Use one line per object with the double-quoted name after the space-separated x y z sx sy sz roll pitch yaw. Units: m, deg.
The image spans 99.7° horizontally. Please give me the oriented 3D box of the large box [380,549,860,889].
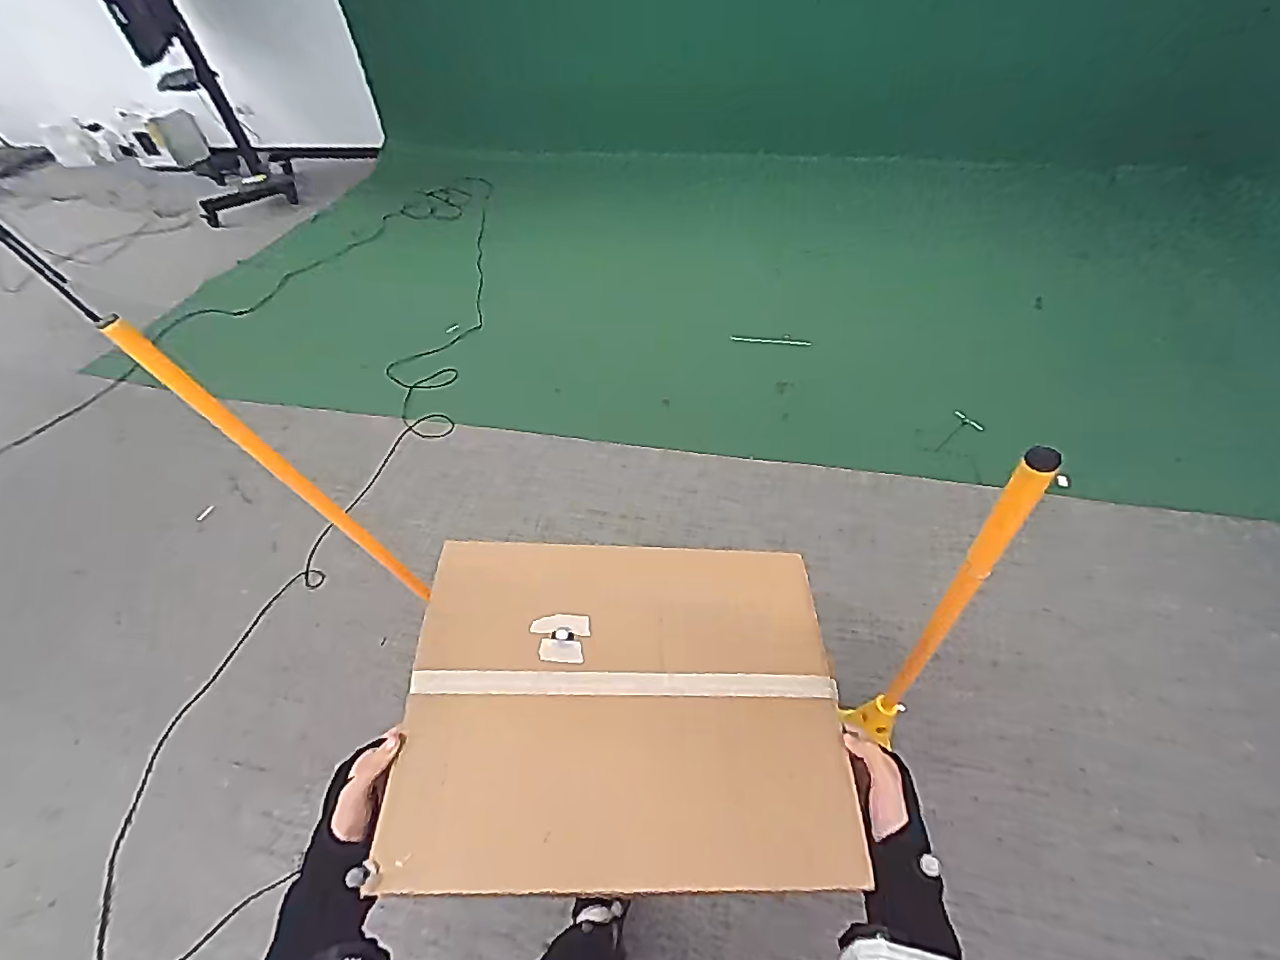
-0.021 0.293 0.649 0.408 0.320 0.320 2 52 -3 "large box"
